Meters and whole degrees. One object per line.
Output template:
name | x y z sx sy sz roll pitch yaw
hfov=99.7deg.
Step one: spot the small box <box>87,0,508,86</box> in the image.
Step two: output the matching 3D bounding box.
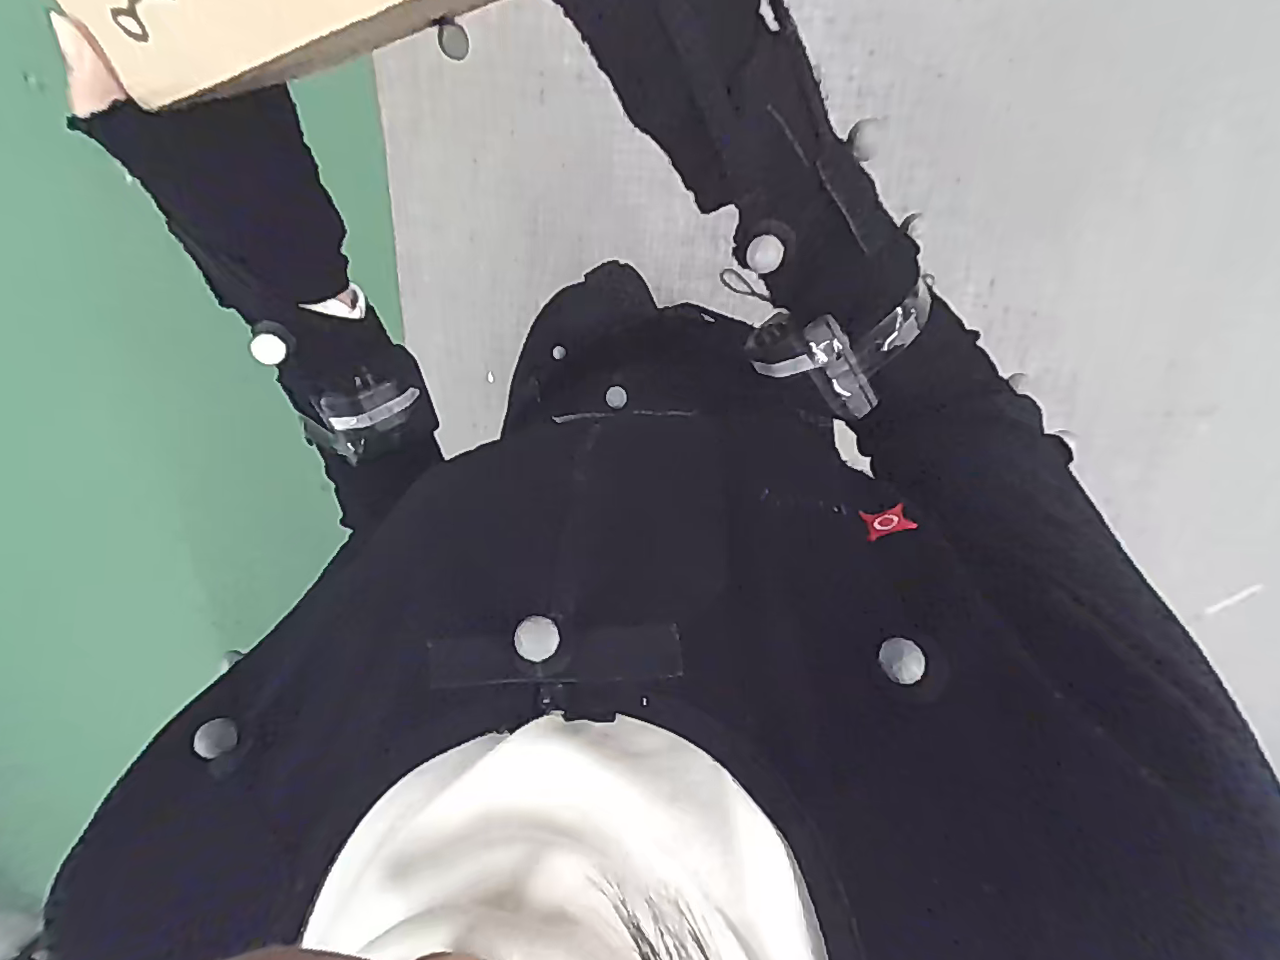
small box | -0.121 -0.274 0.196 0.179 0.176 0.168 -12 129 9
